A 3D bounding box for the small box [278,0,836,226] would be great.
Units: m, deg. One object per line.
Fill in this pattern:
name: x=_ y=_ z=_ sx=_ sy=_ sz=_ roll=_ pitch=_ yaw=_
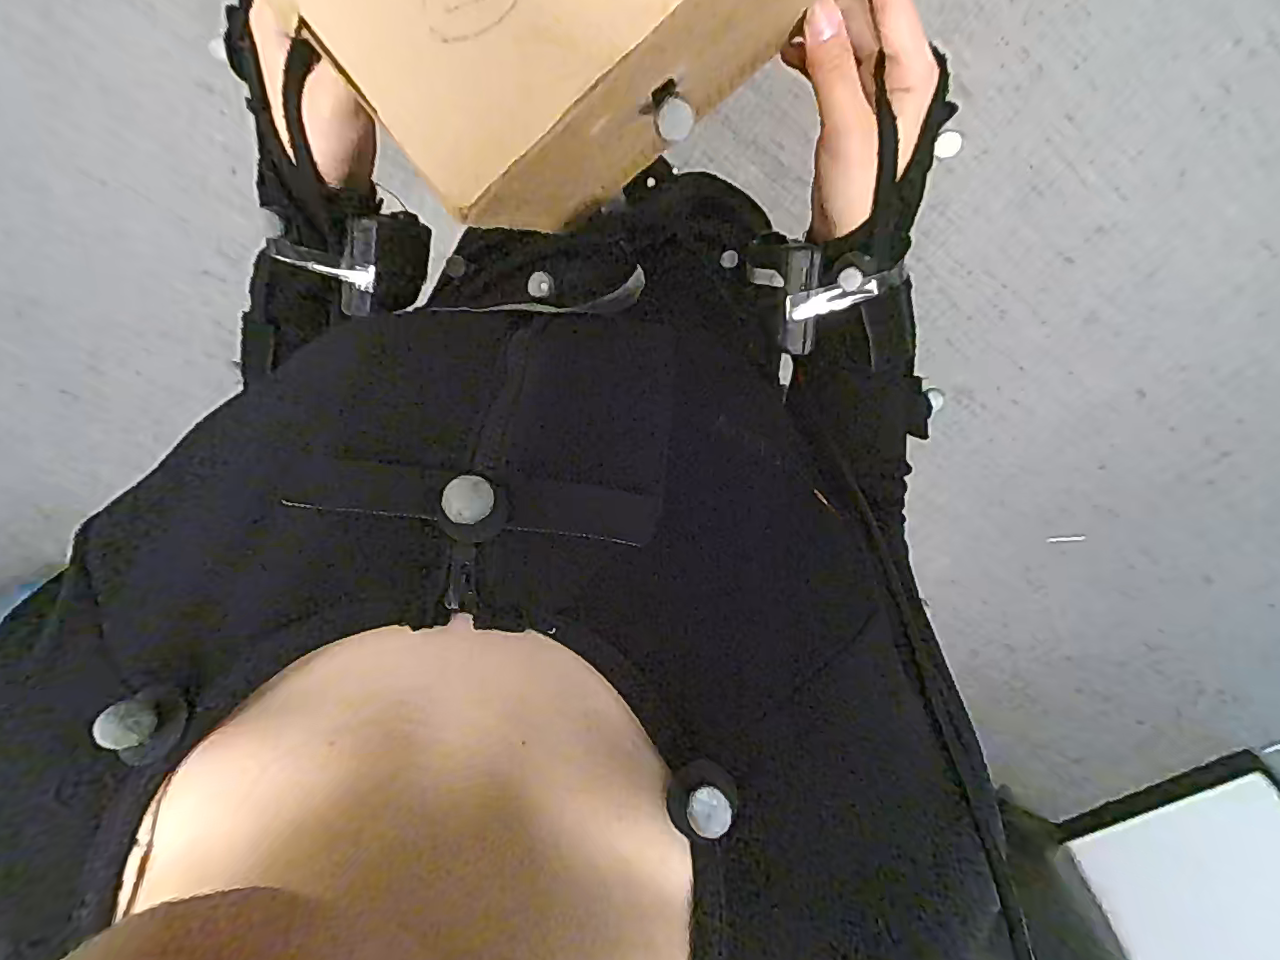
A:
small box: x=-0.024 y=-0.210 z=0.186 sx=0.179 sy=0.176 sz=0.168 roll=-32 pitch=107 yaw=17
